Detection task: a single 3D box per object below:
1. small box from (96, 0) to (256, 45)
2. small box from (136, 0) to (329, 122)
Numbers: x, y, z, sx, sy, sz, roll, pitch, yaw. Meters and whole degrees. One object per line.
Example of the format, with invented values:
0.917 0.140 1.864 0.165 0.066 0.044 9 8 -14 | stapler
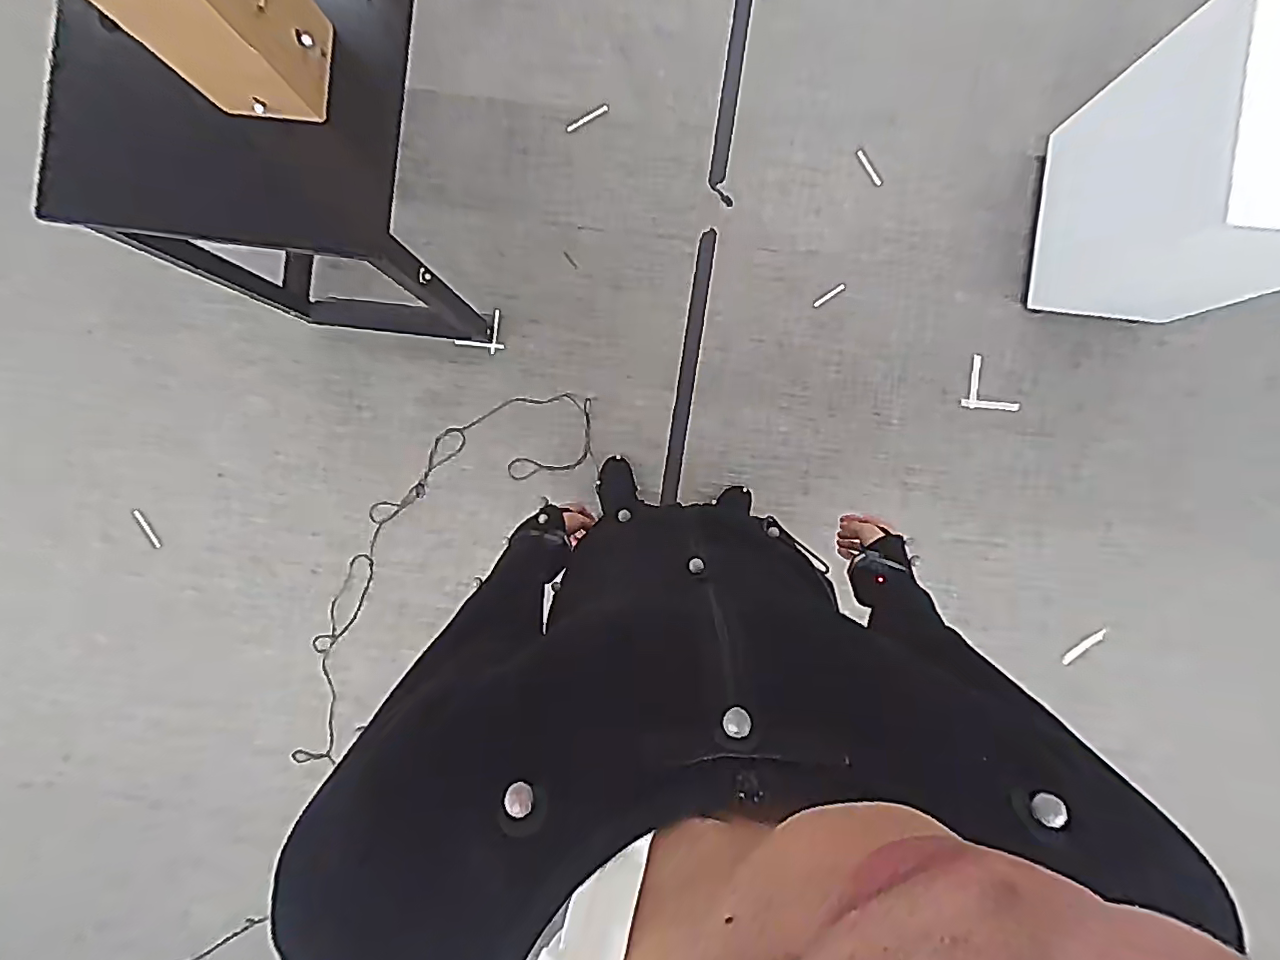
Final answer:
-0.618 -0.688 0.670 0.179 0.176 0.168 6 92 1 | small box
-0.613 -0.690 0.835 0.179 0.176 0.168 5 91 1 | small box
